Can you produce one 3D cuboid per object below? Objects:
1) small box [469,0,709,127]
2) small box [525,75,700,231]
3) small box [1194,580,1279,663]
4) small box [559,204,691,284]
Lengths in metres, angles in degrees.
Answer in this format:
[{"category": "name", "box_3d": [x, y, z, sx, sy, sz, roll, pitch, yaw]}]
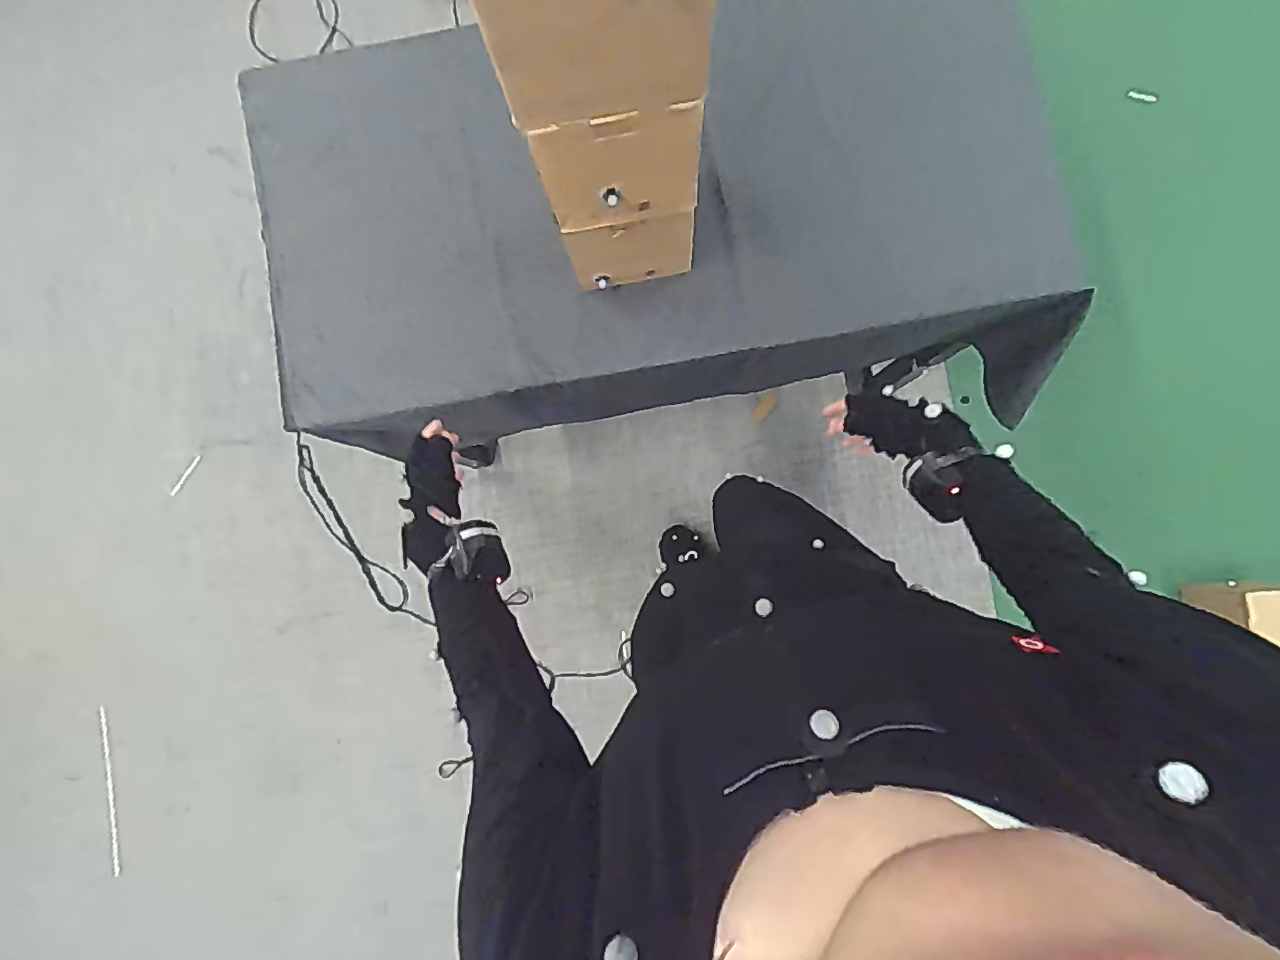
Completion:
[{"category": "small box", "box_3d": [-0.041, -0.417, 0.420, 0.179, 0.176, 0.168, -8, 84, 3]}, {"category": "small box", "box_3d": [-0.034, -0.405, 0.583, 0.168, 0.176, 0.179, -10, 85, 3]}, {"category": "small box", "box_3d": [1.500, 0.336, 1.304, 0.179, 0.176, 0.168, -5, 85, 4]}, {"category": "small box", "box_3d": [-0.024, -0.391, 0.745, 0.168, 0.176, 0.179, -10, 84, 3]}]
